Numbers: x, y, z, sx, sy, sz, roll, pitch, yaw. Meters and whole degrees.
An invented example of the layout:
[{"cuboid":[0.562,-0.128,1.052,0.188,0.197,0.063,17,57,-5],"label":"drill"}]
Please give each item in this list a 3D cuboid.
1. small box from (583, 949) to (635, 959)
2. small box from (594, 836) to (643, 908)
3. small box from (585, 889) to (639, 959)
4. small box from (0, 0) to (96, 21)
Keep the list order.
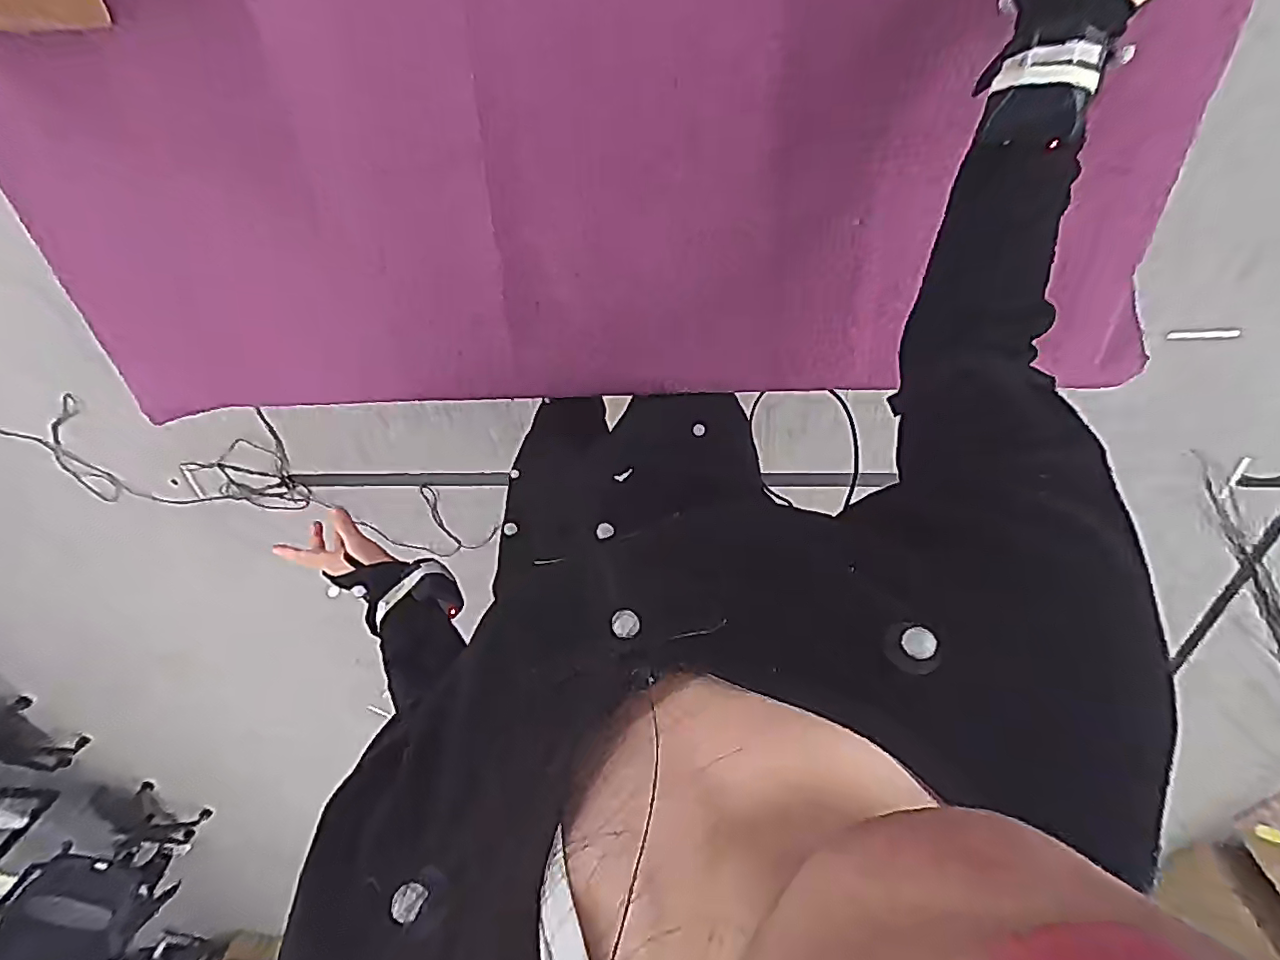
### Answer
[{"cuboid":[-0.105,1.637,1.734,0.168,0.176,0.179,2,127,5],"label":"small box"},{"cuboid":[-0.078,1.448,1.998,0.168,0.176,0.179,4,125,3],"label":"small box"},{"cuboid":[-0.094,1.539,1.863,0.168,0.176,0.179,1,126,4],"label":"small box"},{"cuboid":[-0.583,-0.450,0.396,0.179,0.176,0.168,1,127,3],"label":"small box"}]
